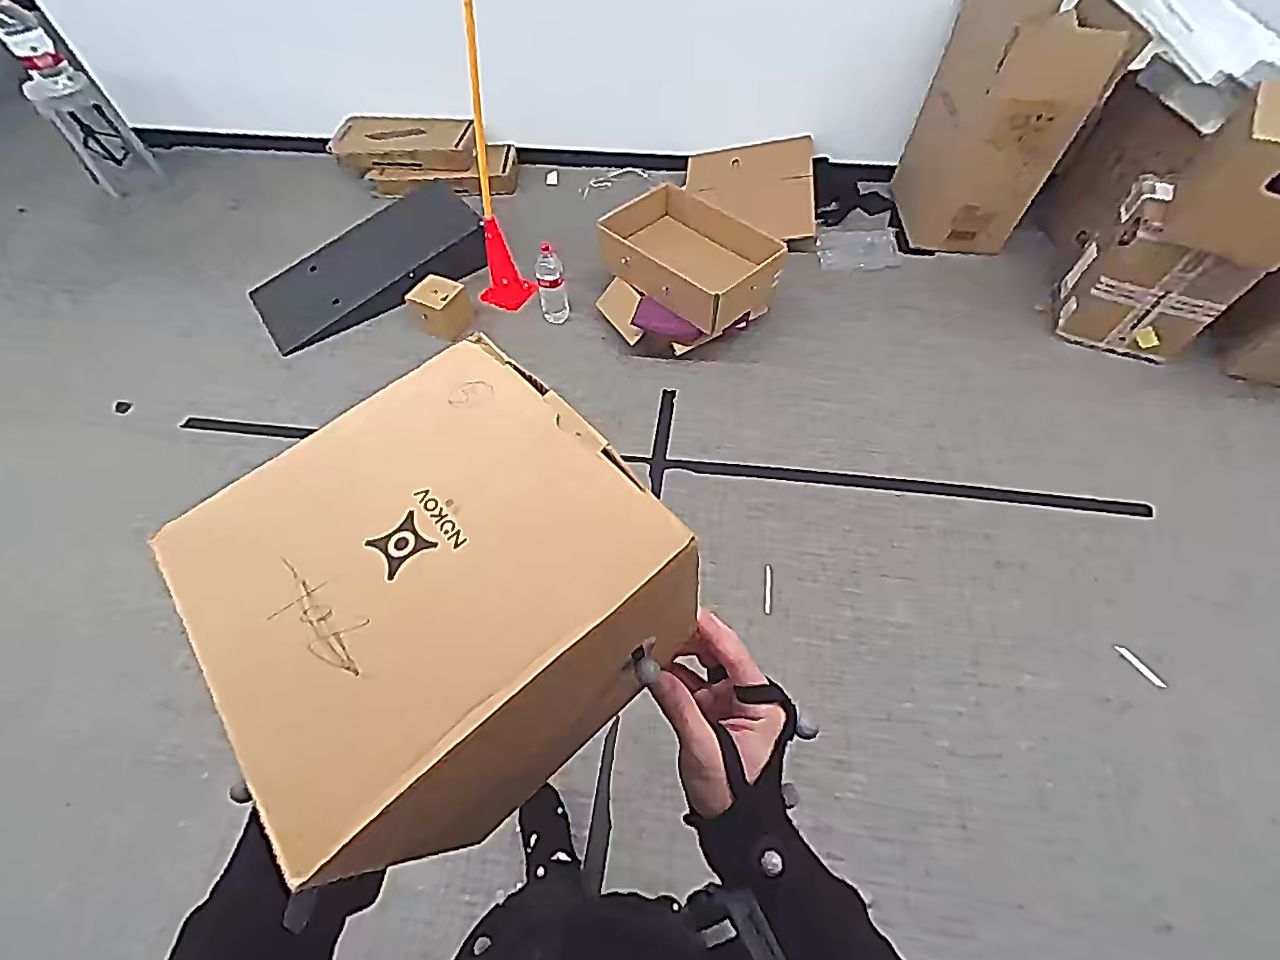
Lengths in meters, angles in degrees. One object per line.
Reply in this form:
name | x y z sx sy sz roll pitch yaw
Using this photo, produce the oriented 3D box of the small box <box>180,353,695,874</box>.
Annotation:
small box | -0.087 0.071 0.305 0.179 0.176 0.168 -39 63 -16
